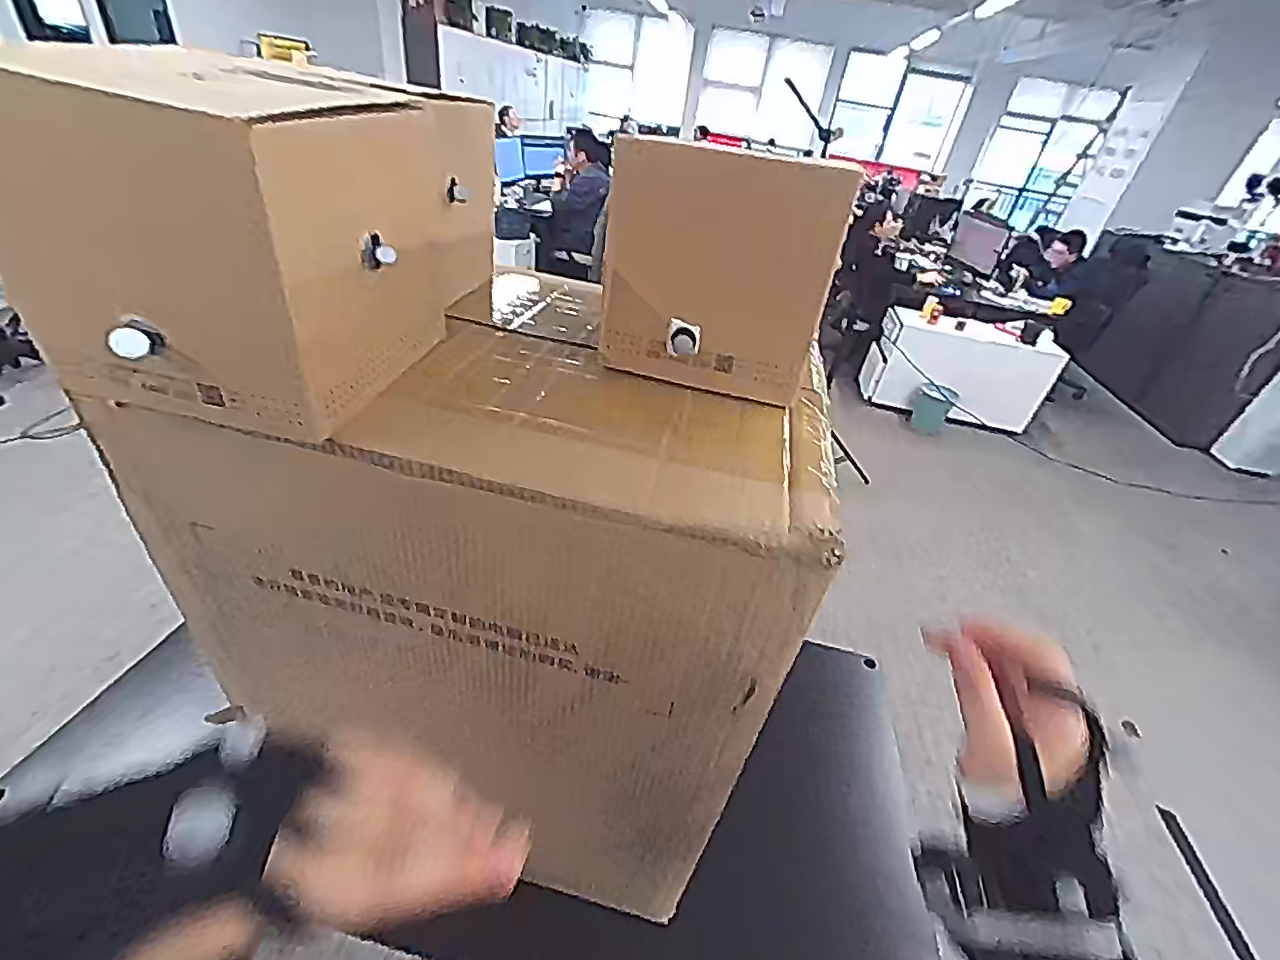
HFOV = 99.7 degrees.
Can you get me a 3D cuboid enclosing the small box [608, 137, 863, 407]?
[{"bbox_3d":[0.074,-0.183,0.466,0.168,0.176,0.179,12,34,8],"label":"small box"}]
